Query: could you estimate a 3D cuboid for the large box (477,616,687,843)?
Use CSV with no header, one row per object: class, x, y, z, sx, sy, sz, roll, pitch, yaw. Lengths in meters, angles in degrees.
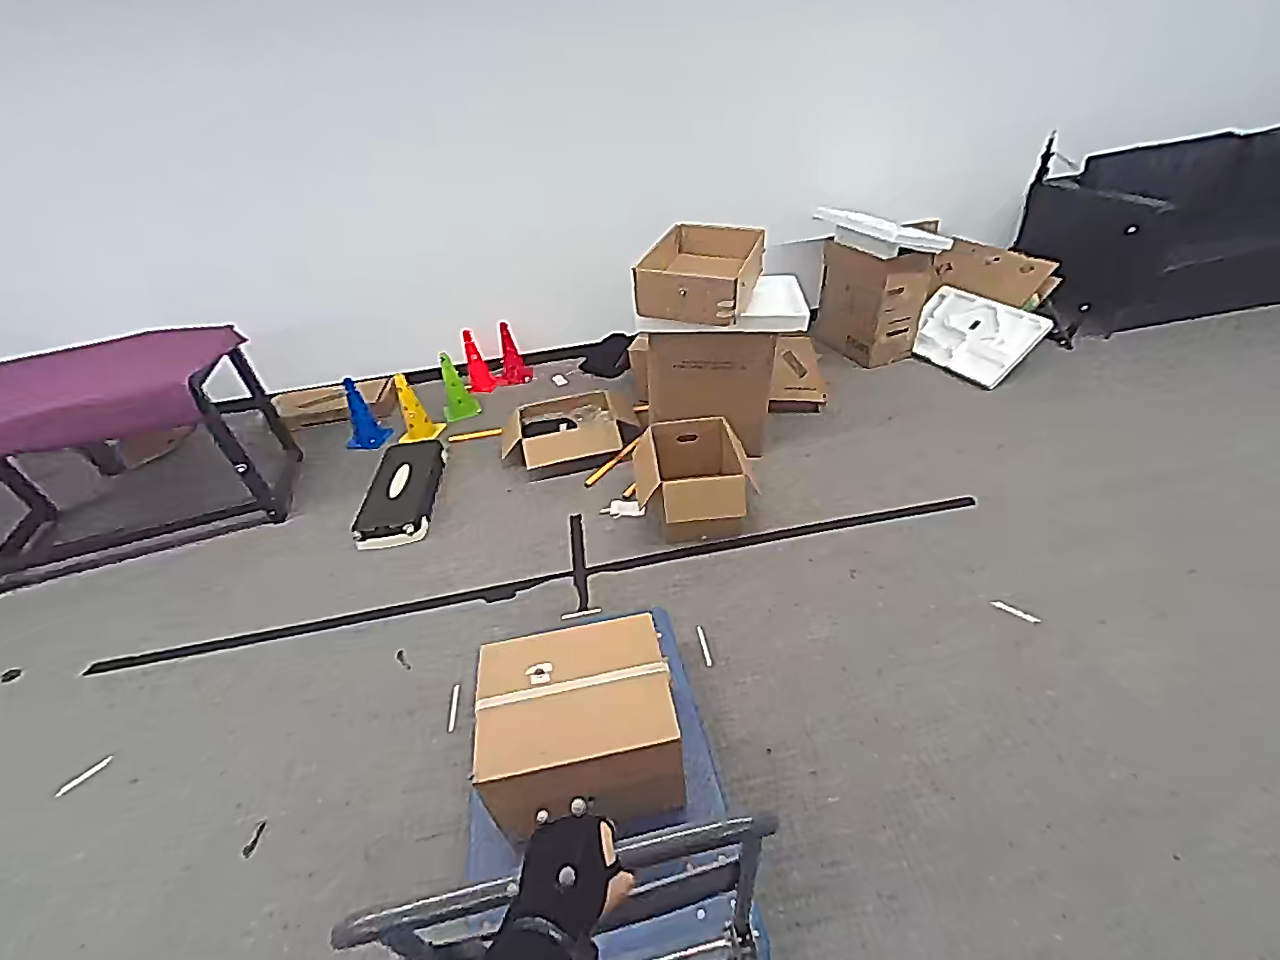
large box,-0.128,0.568,1.247,0.408,0.320,0.320,-11,37,-5
